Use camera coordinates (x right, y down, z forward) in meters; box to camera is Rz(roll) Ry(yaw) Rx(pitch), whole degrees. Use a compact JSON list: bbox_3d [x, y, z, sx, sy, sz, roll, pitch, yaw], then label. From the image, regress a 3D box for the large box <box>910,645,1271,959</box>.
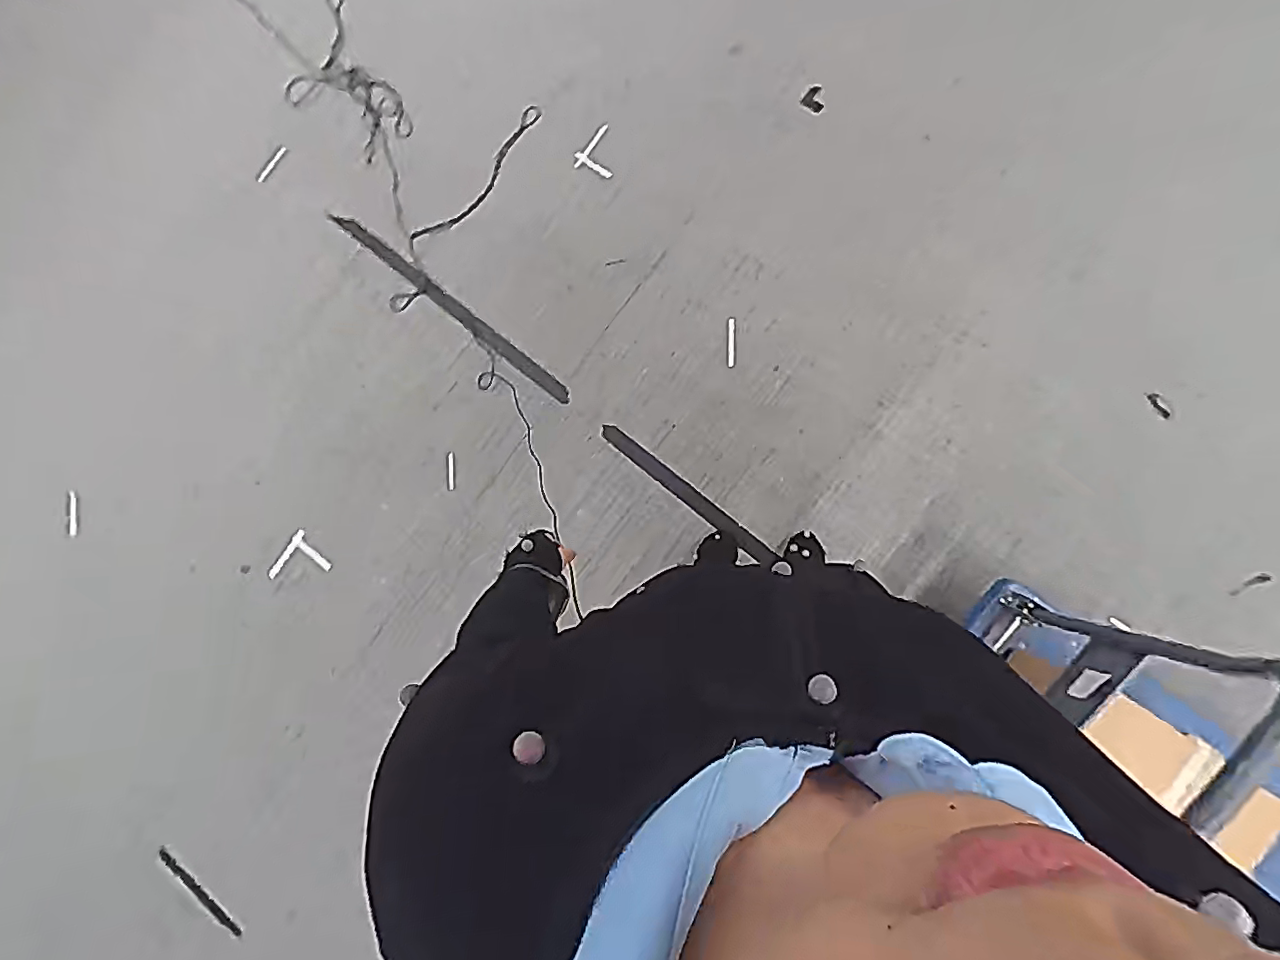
[{"bbox_3d":[0.821,0.604,1.055,0.320,0.320,0.408,35,92,9],"label":"large box"}]
